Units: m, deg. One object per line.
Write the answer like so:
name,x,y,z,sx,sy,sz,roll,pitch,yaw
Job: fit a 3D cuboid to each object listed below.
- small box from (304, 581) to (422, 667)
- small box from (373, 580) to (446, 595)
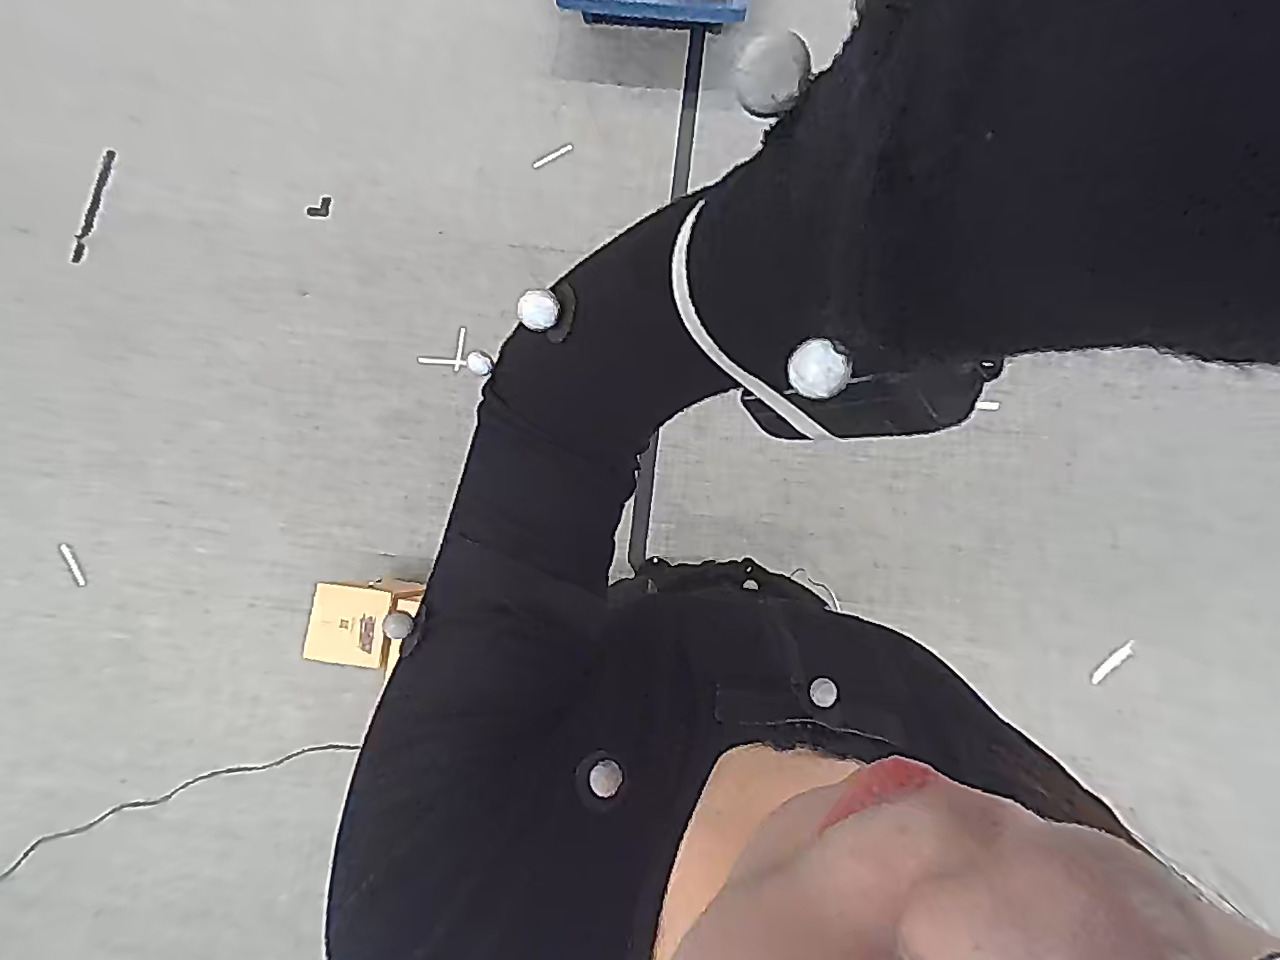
small box,-0.637,0.329,1.267,0.179,0.176,0.168,7,81,3
small box,-0.634,0.358,1.429,0.179,0.176,0.168,8,81,3
